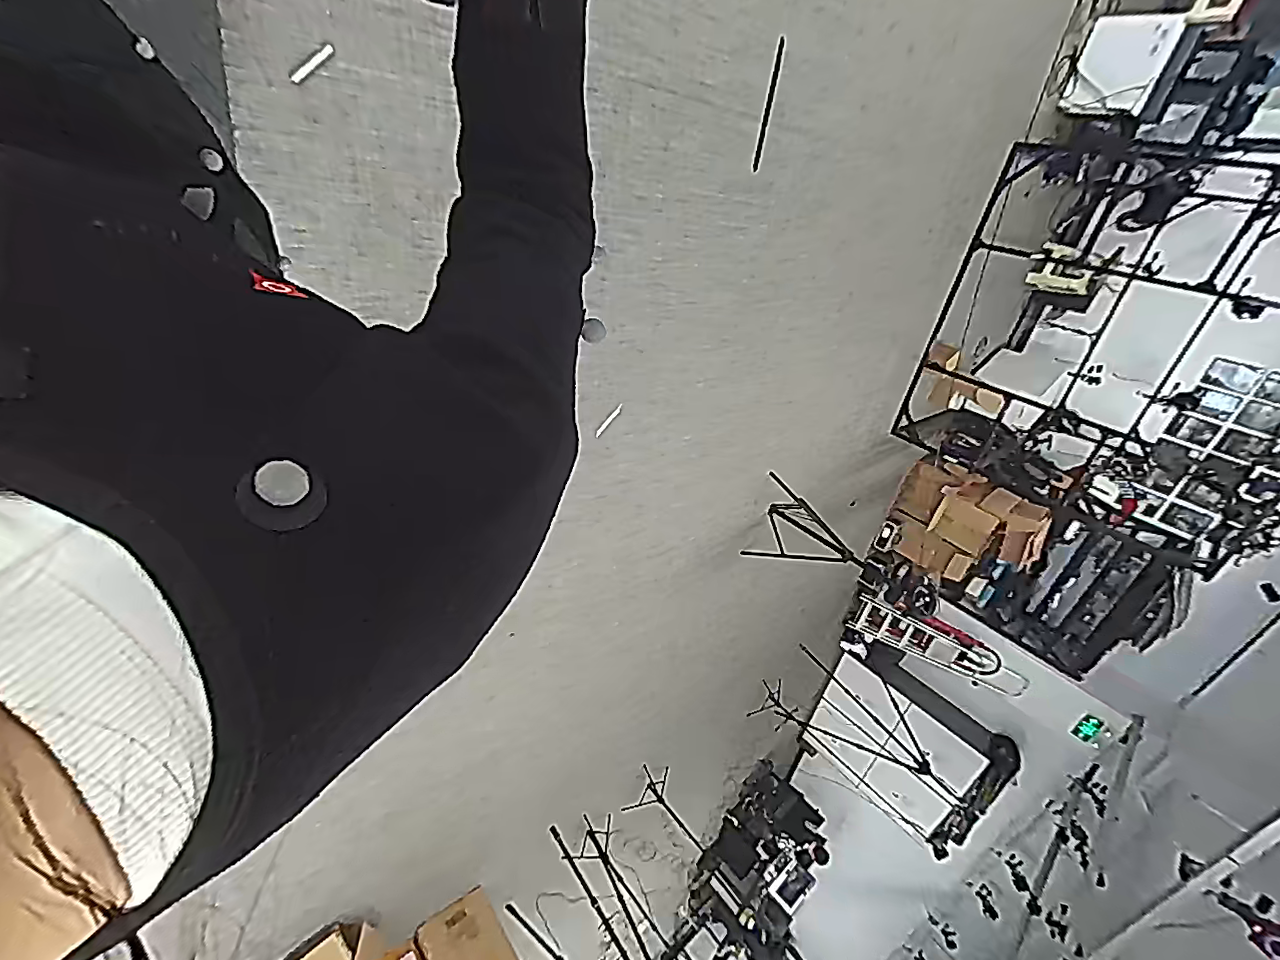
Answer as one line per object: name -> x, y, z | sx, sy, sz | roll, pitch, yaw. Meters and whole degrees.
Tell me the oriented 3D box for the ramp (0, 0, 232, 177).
ramp -> -0.841, -0.935, 0.642 | 0.509, 0.206, 0.991 | -17, 131, -40
